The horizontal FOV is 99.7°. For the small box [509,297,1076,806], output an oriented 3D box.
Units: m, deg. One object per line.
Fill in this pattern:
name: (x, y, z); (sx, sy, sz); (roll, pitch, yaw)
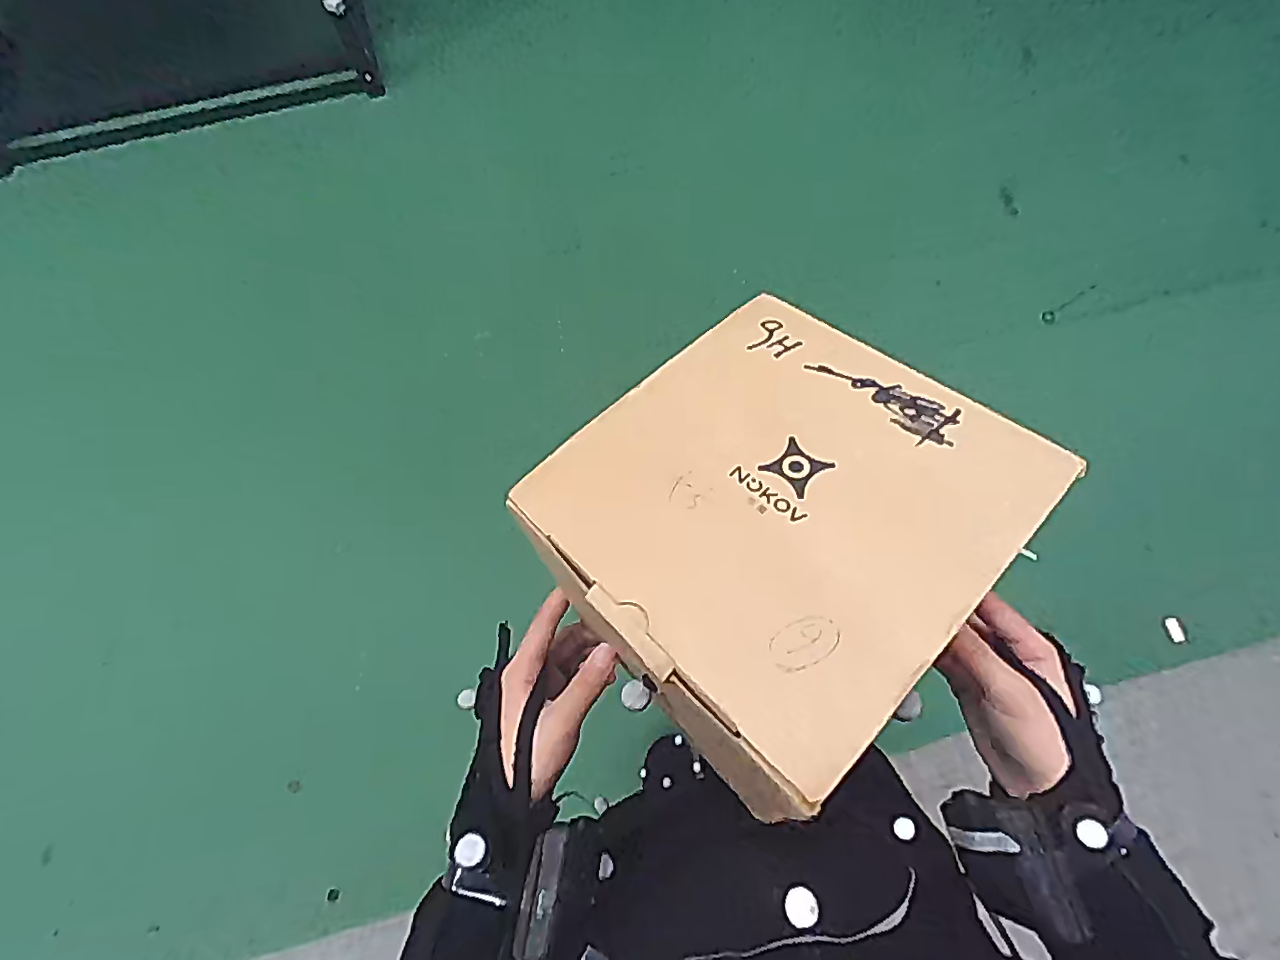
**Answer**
small box: (0.067, 0.045, 0.291); (0.179, 0.176, 0.168); (-40, 61, -17)
